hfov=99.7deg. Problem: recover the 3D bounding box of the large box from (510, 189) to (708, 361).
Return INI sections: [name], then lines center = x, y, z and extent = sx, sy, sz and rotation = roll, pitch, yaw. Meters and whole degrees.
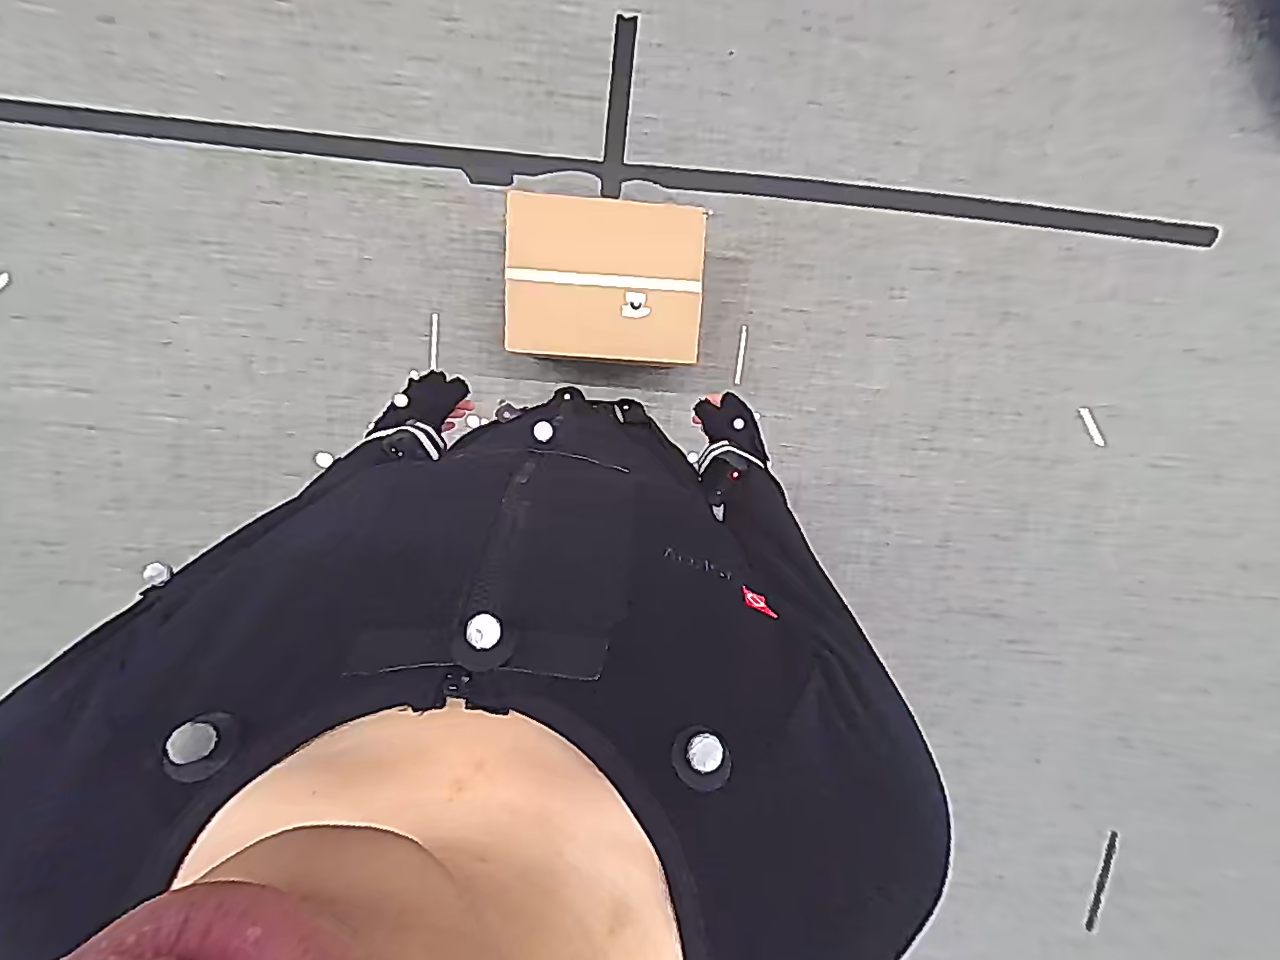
[large box]
center = -0.077, -0.445, 1.252
extent = 0.408, 0.320, 0.320
rotation = 3, 101, -4
